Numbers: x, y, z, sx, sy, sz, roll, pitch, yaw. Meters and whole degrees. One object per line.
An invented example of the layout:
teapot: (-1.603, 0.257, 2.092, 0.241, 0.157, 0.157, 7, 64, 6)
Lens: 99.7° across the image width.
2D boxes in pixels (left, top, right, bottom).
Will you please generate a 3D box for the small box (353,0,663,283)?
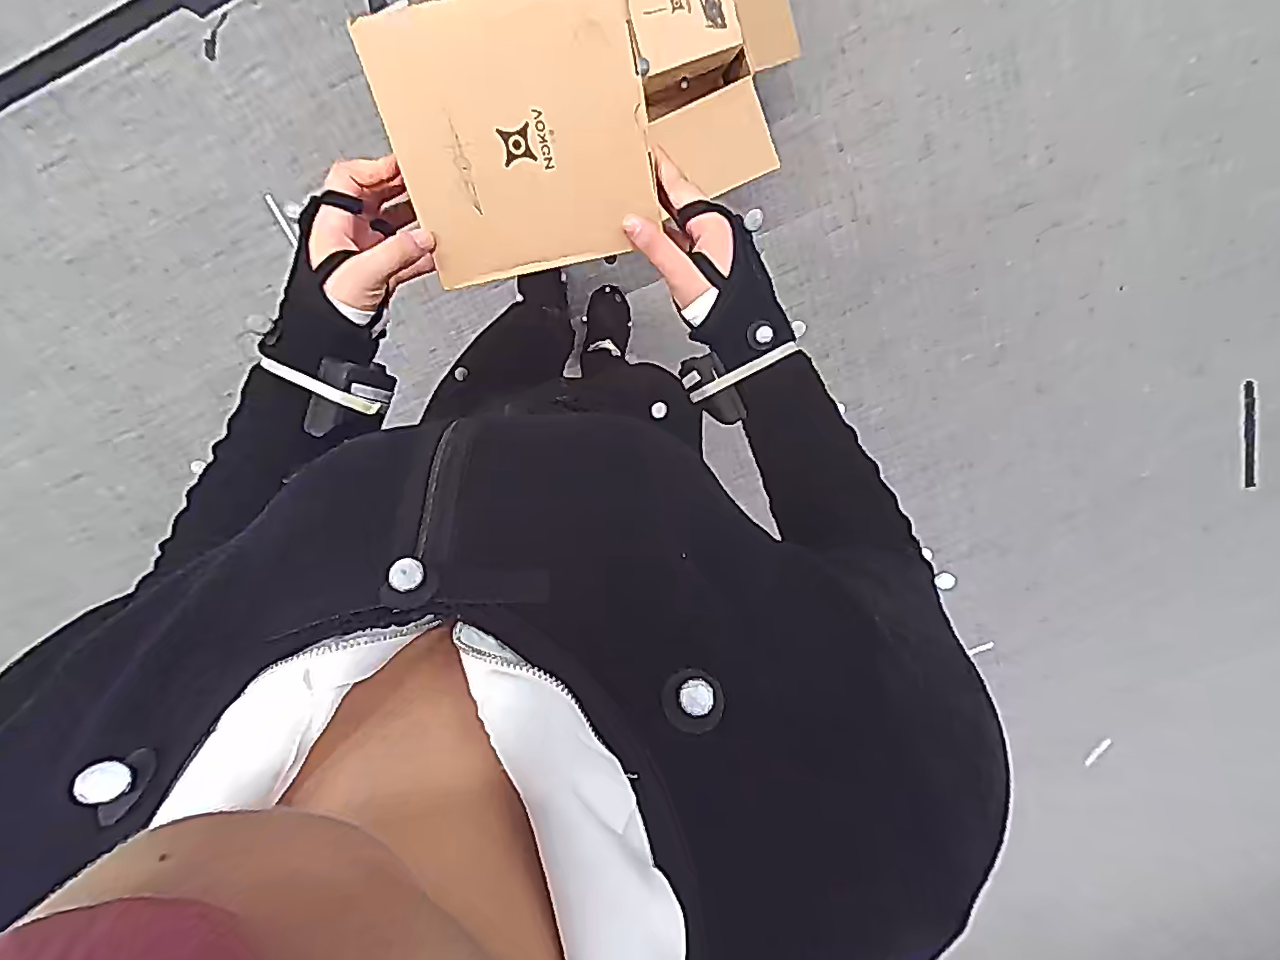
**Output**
small box: (-0.087, -0.275, 0.443, 0.179, 0.176, 0.168, -12, 118, 3)
